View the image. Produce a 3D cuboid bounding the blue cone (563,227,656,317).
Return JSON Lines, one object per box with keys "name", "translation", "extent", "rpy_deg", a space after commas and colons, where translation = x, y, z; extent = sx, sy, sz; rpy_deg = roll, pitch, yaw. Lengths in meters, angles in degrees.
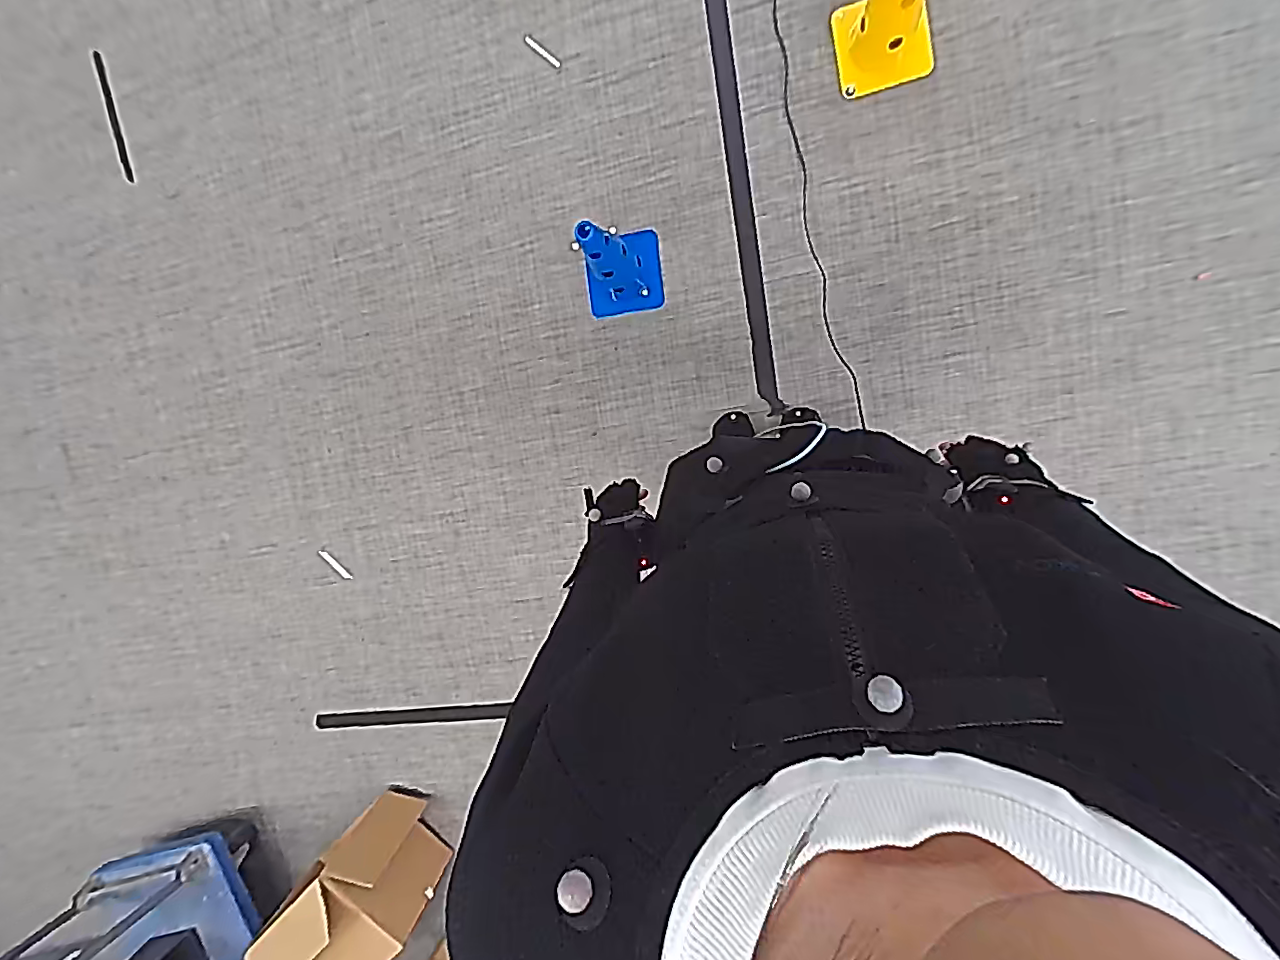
{"name": "blue cone", "translation": [-0.090, -0.516, 1.264], "extent": [0.192, 0.380, 0.193], "rpy_deg": [-4, 96, 13]}
